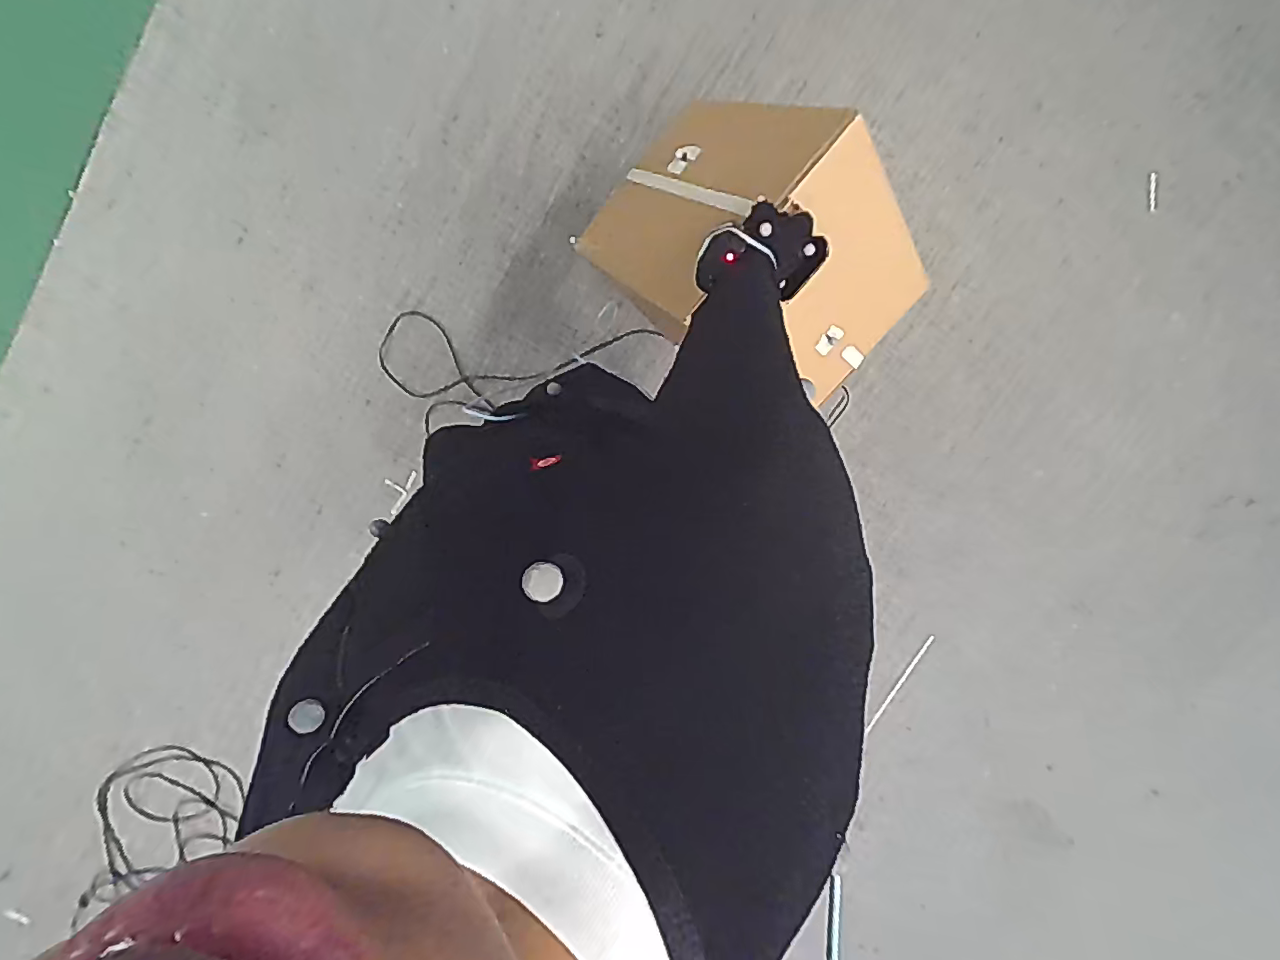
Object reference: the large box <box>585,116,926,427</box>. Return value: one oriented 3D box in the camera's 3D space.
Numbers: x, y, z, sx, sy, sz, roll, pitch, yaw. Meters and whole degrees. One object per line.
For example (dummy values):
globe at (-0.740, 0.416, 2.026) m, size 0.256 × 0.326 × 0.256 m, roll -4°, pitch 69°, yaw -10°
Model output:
large box at (0.177, -0.353, 0.910) m, size 0.320 × 0.408 × 0.320 m, roll -48°, pitch 132°, yaw 8°
